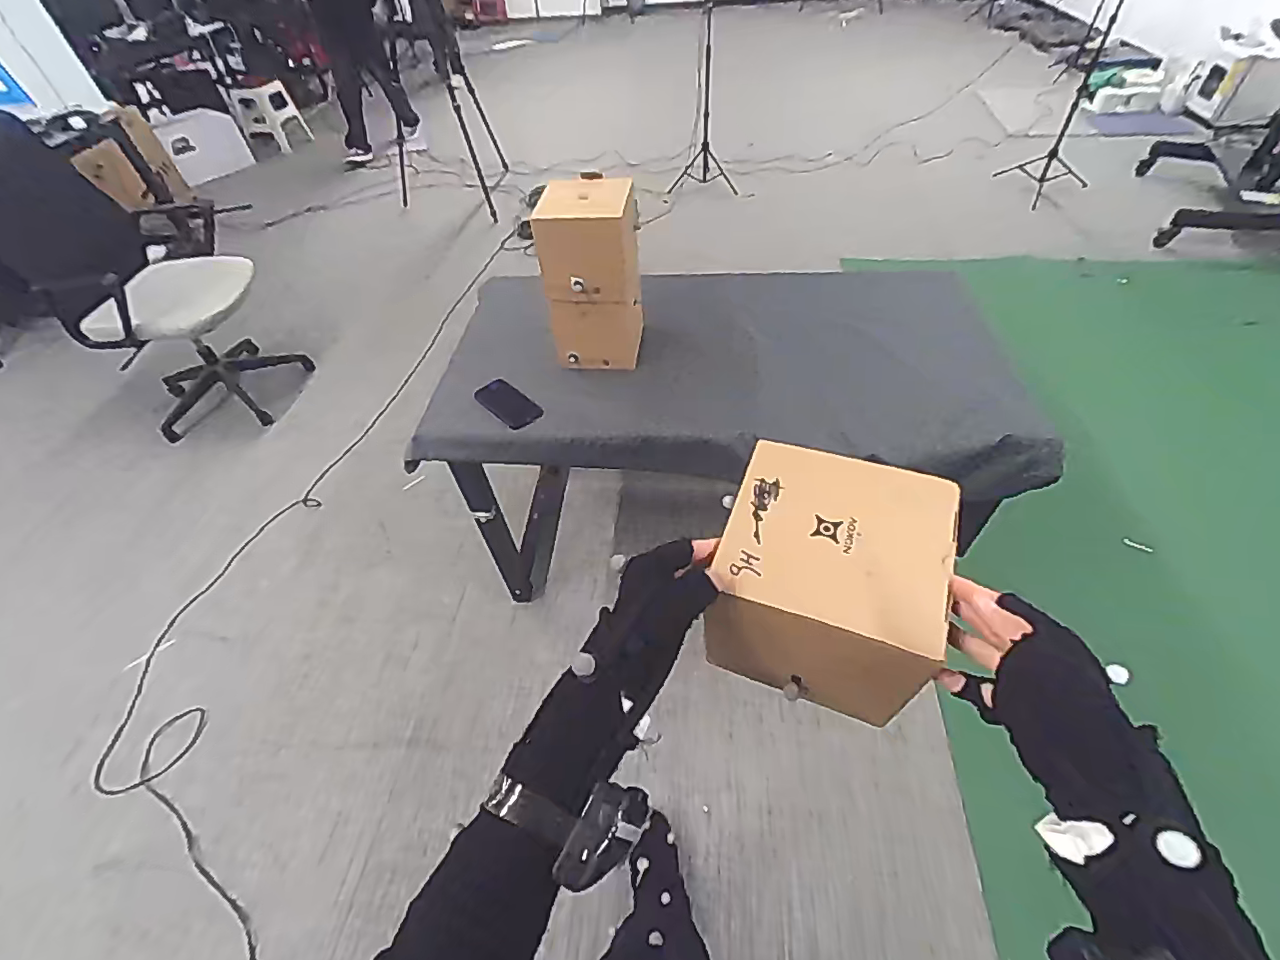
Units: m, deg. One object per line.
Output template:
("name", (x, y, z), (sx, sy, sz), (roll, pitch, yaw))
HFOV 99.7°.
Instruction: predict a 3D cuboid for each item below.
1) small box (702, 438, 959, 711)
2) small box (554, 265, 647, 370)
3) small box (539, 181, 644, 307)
("small box", (0.166, 0.092, 0.504), (0.179, 0.176, 0.168), (16, 54, 18))
("small box", (-0.076, -0.355, 1.177), (0.168, 0.176, 0.179), (4, 48, 7))
("small box", (-0.084, -0.458, 1.052), (0.168, 0.176, 0.179), (2, 50, 7))
